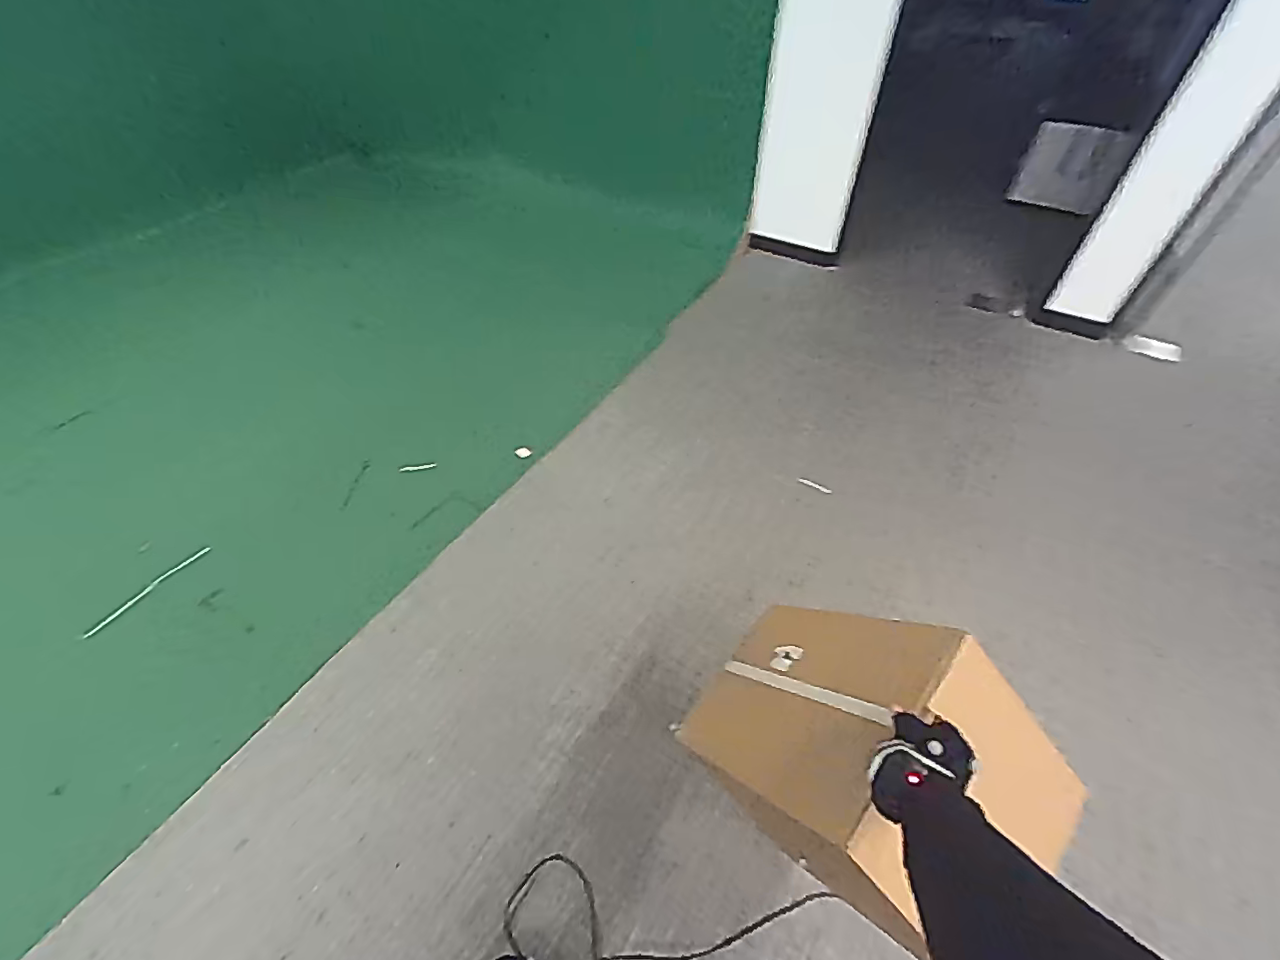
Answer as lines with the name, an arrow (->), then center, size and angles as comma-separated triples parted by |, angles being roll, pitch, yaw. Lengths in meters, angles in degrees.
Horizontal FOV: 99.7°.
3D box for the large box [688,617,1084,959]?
large box -> 0.355, 0.447, 0.848 | 0.320, 0.408, 0.320 | -43, 98, -22
